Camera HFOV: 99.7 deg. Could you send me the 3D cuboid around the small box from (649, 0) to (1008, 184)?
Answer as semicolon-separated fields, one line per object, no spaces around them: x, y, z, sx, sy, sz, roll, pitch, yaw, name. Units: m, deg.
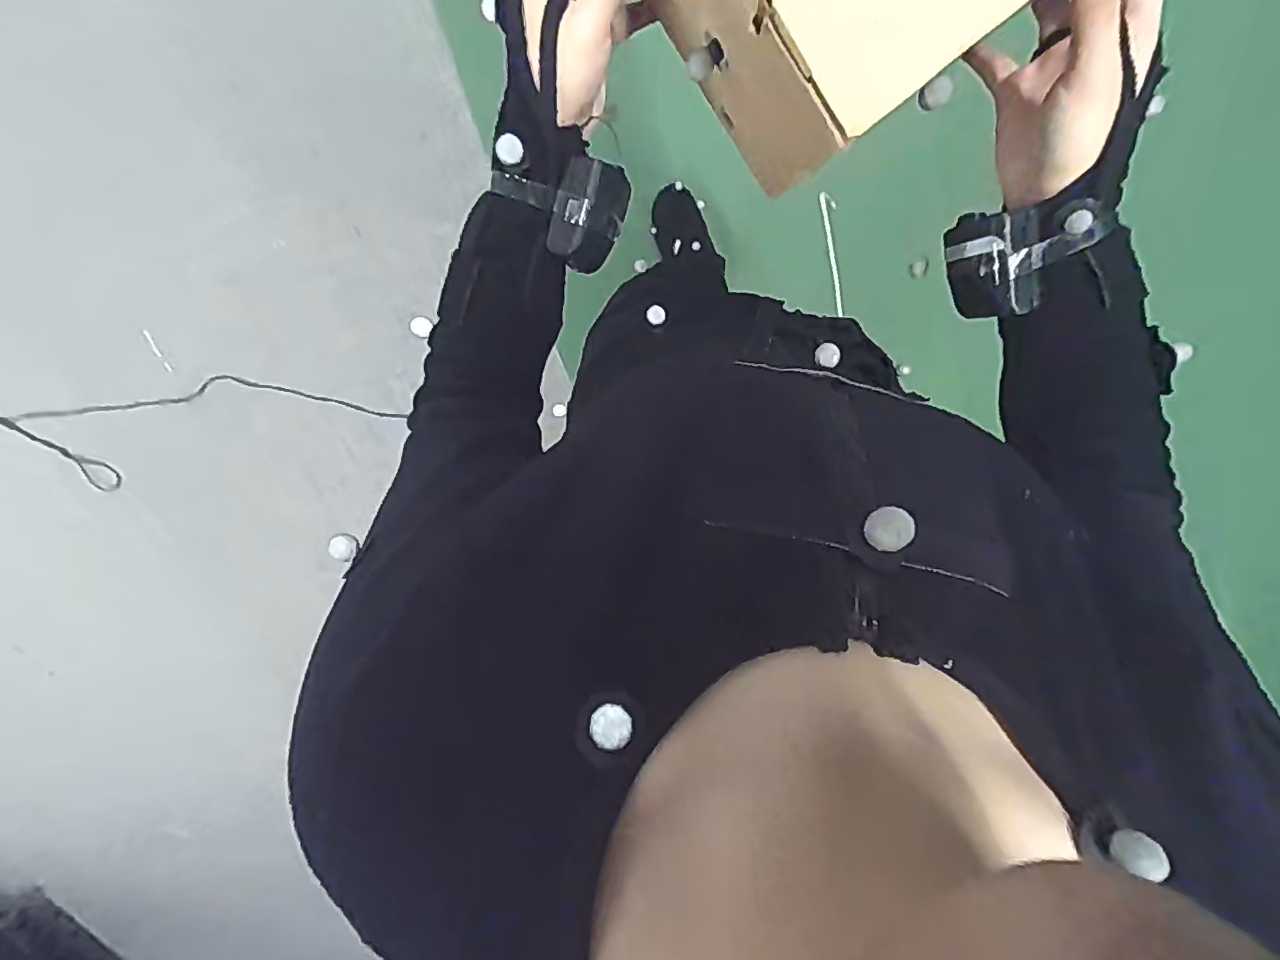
0.101;-0.285;0.272;0.179;0.176;0.168;-35;104;14;small box
